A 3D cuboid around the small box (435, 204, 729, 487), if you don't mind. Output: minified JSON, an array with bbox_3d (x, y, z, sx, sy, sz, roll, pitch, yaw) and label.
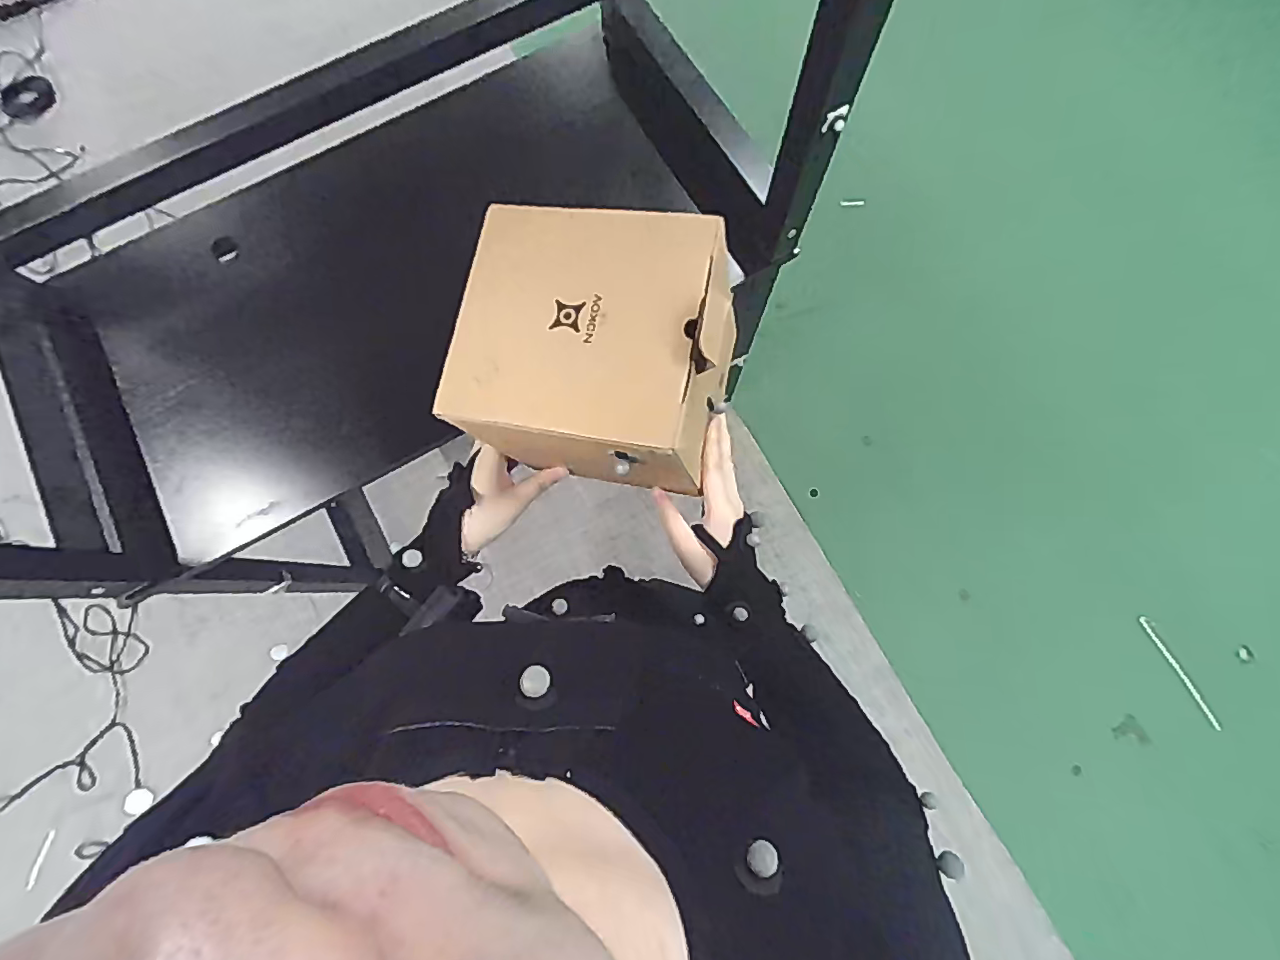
[{"bbox_3d":[-0.029,-0.097,0.447,0.179,0.176,0.168,10,81,13],"label":"small box"}]
